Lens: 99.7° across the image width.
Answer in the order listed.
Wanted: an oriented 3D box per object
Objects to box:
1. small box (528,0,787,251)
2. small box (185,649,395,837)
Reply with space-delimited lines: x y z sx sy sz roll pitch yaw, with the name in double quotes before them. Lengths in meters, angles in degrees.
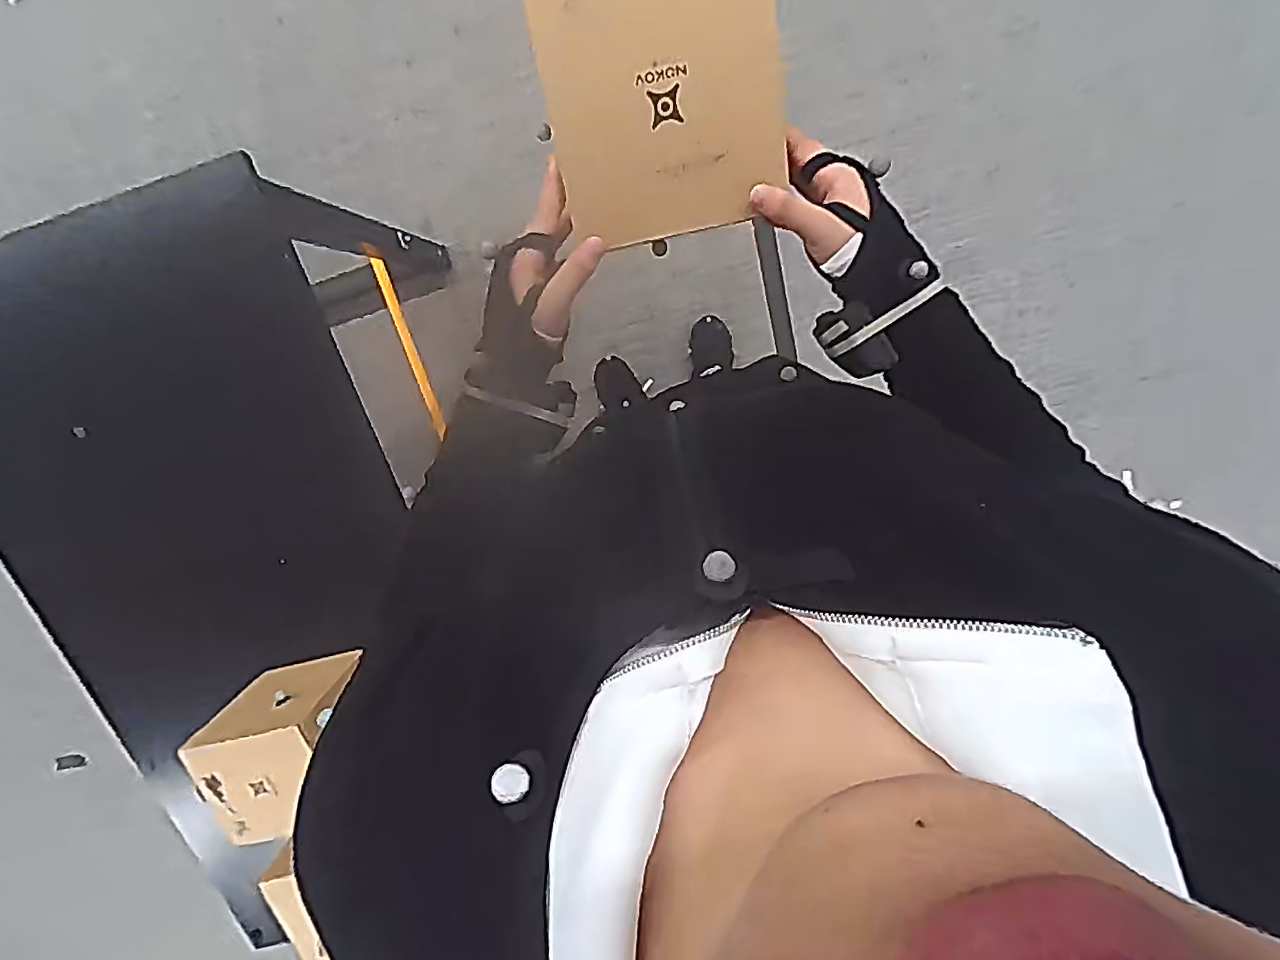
"small box" 0.014 -0.301 0.453 0.168 0.176 0.179 -11 116 3
"small box" -0.488 0.373 0.793 0.179 0.176 0.168 -15 106 4
